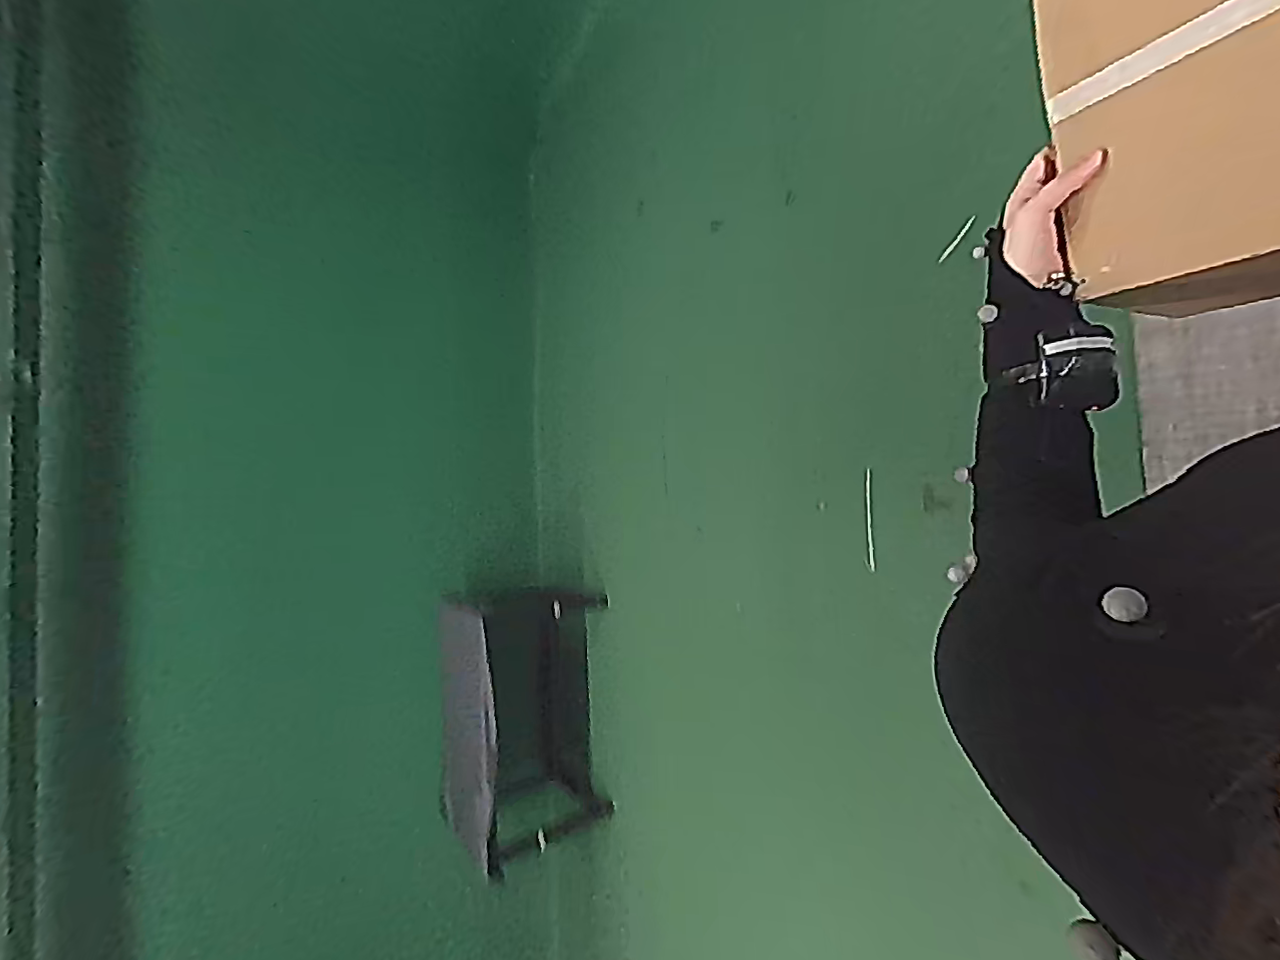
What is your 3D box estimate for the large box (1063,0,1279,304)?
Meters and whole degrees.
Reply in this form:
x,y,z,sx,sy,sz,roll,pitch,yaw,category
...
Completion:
x,y,z,sx,sy,sz,roll,pitch,yaw,category
0.596,-0.336,0.365,0.408,0.320,0.320,-4,93,57,large box
